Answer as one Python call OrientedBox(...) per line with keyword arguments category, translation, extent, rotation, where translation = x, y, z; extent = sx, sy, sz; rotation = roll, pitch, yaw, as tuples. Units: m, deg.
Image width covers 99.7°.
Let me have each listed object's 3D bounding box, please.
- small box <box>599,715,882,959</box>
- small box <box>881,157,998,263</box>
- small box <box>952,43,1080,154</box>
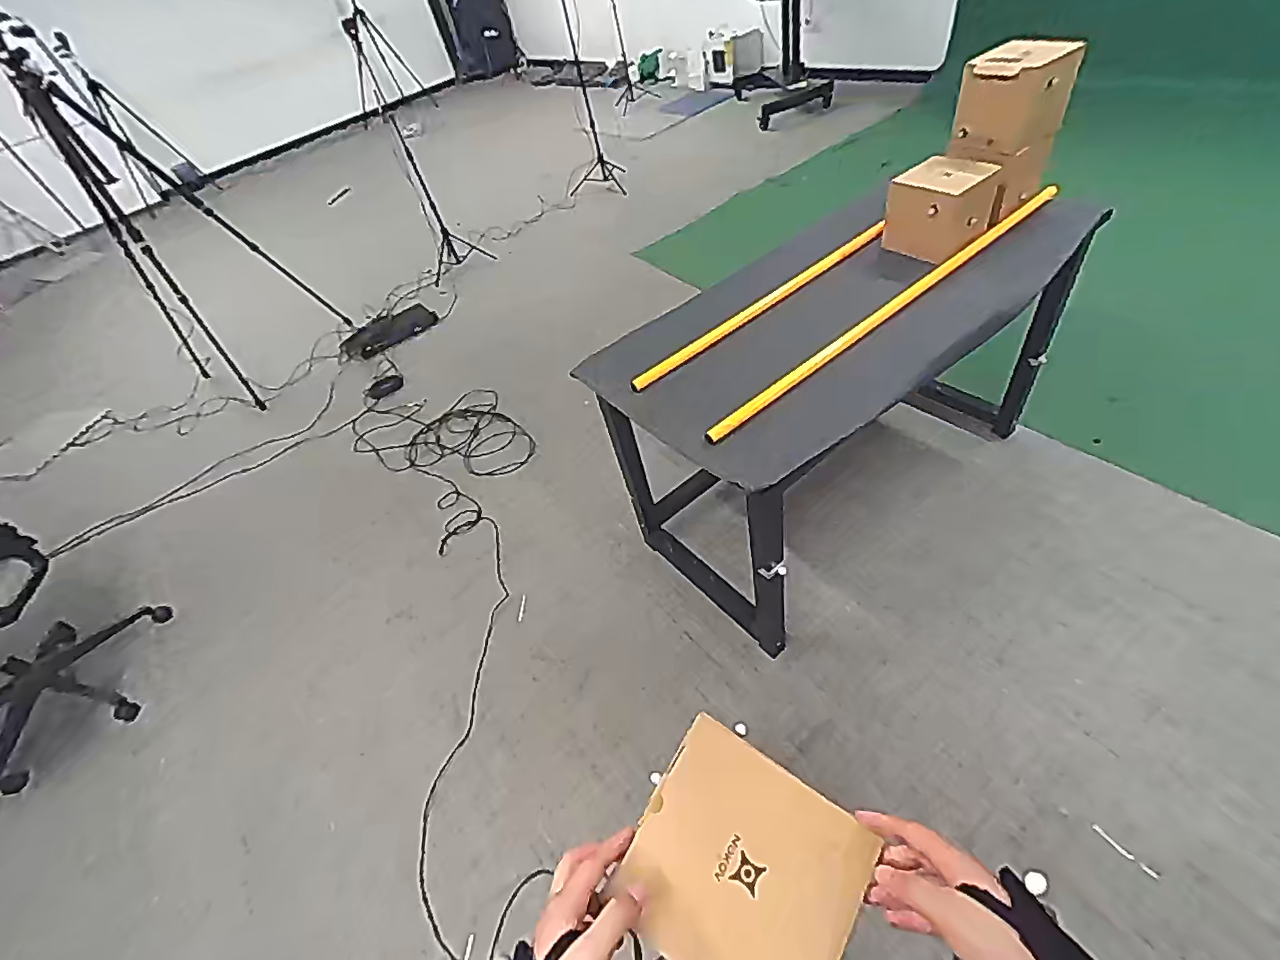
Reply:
OrientedBox(category="small box", translation=(0.087, 0.347, 0.506), extent=(0.179, 0.176, 0.168), rotation=(29, 67, 18))
OrientedBox(category="small box", translation=(0.719, -0.655, 1.317), extent=(0.168, 0.176, 0.179), rotation=(-34, 49, -16))
OrientedBox(category="small box", translation=(0.863, -0.891, 1.264), extent=(0.179, 0.176, 0.168), rotation=(-32, 49, -14))
